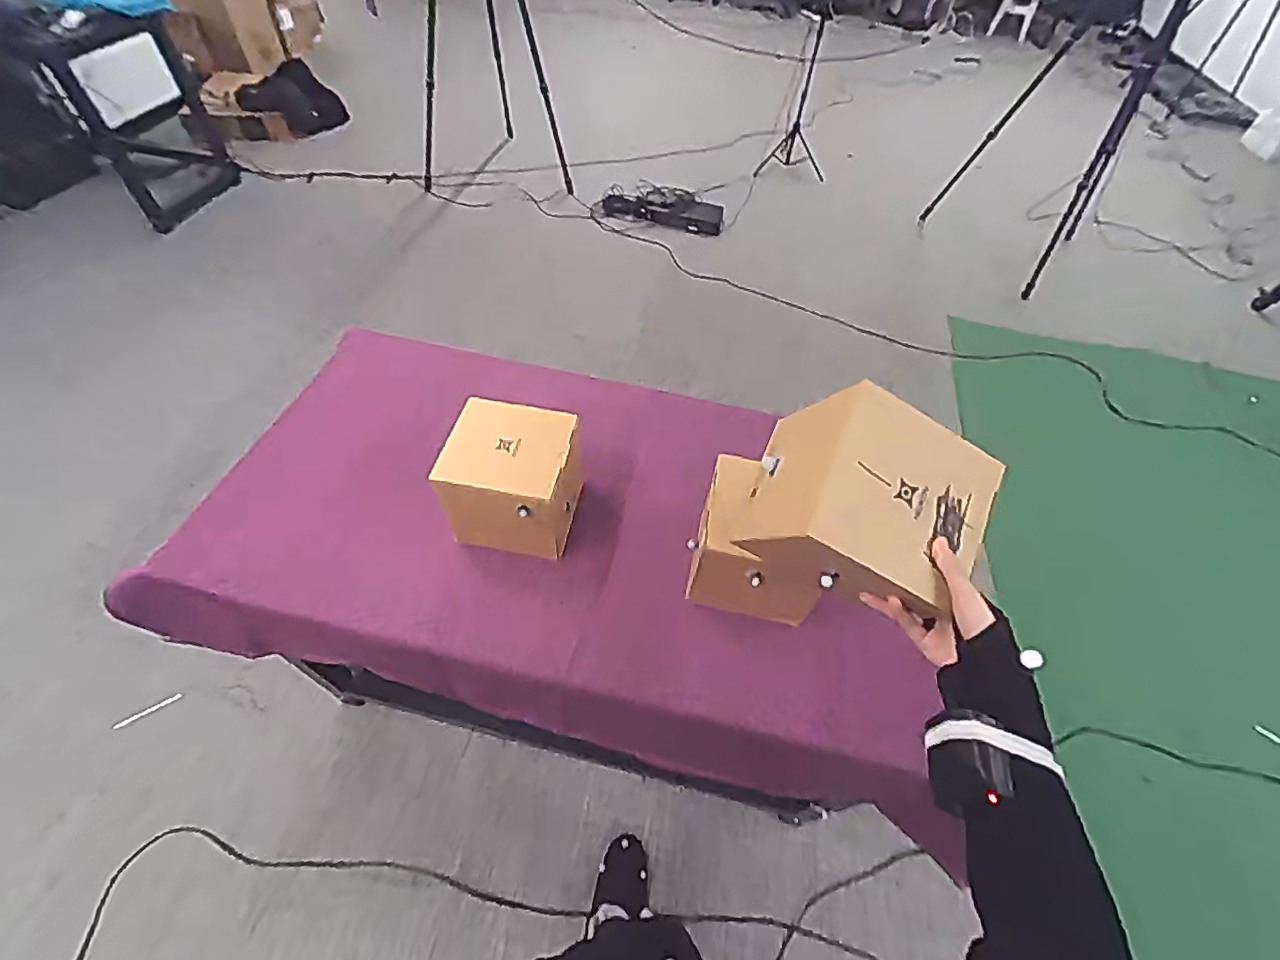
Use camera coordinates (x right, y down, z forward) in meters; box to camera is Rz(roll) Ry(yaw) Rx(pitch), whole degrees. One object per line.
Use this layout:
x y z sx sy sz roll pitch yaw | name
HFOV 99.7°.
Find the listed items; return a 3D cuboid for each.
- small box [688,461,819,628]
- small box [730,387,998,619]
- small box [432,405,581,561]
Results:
0.176 0.100 0.803 0.179 0.176 0.168 13 53 5 | small box
0.228 0.031 0.582 0.179 0.176 0.168 28 75 -9 | small box
-0.195 0.009 0.848 0.179 0.176 0.168 10 52 2 | small box
